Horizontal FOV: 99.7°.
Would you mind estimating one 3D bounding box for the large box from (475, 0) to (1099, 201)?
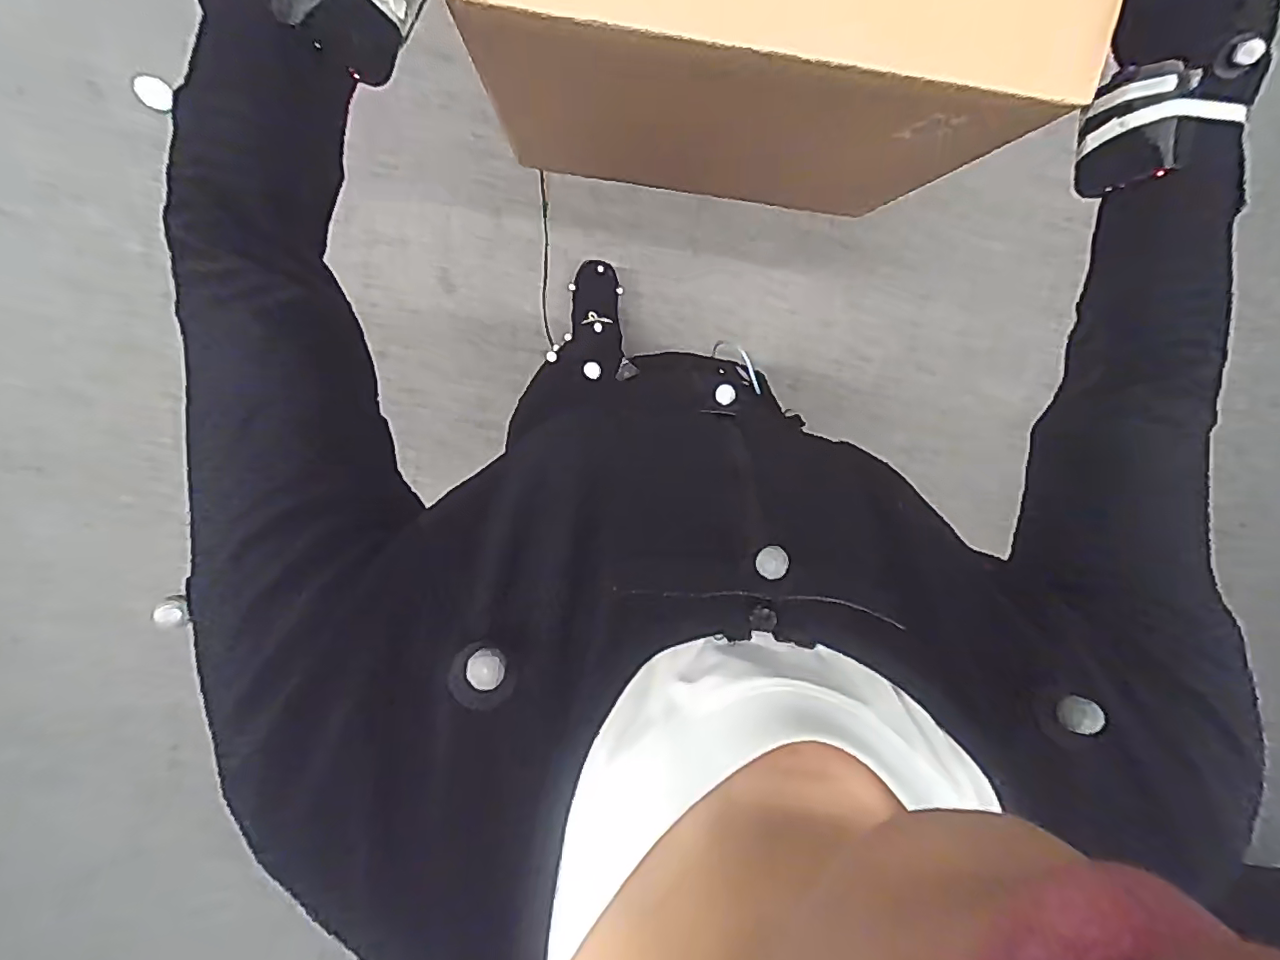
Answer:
[{"bbox_3d":[0.092,-0.454,0.445,0.408,0.320,0.320,5,104,-7],"label":"large box"}]
